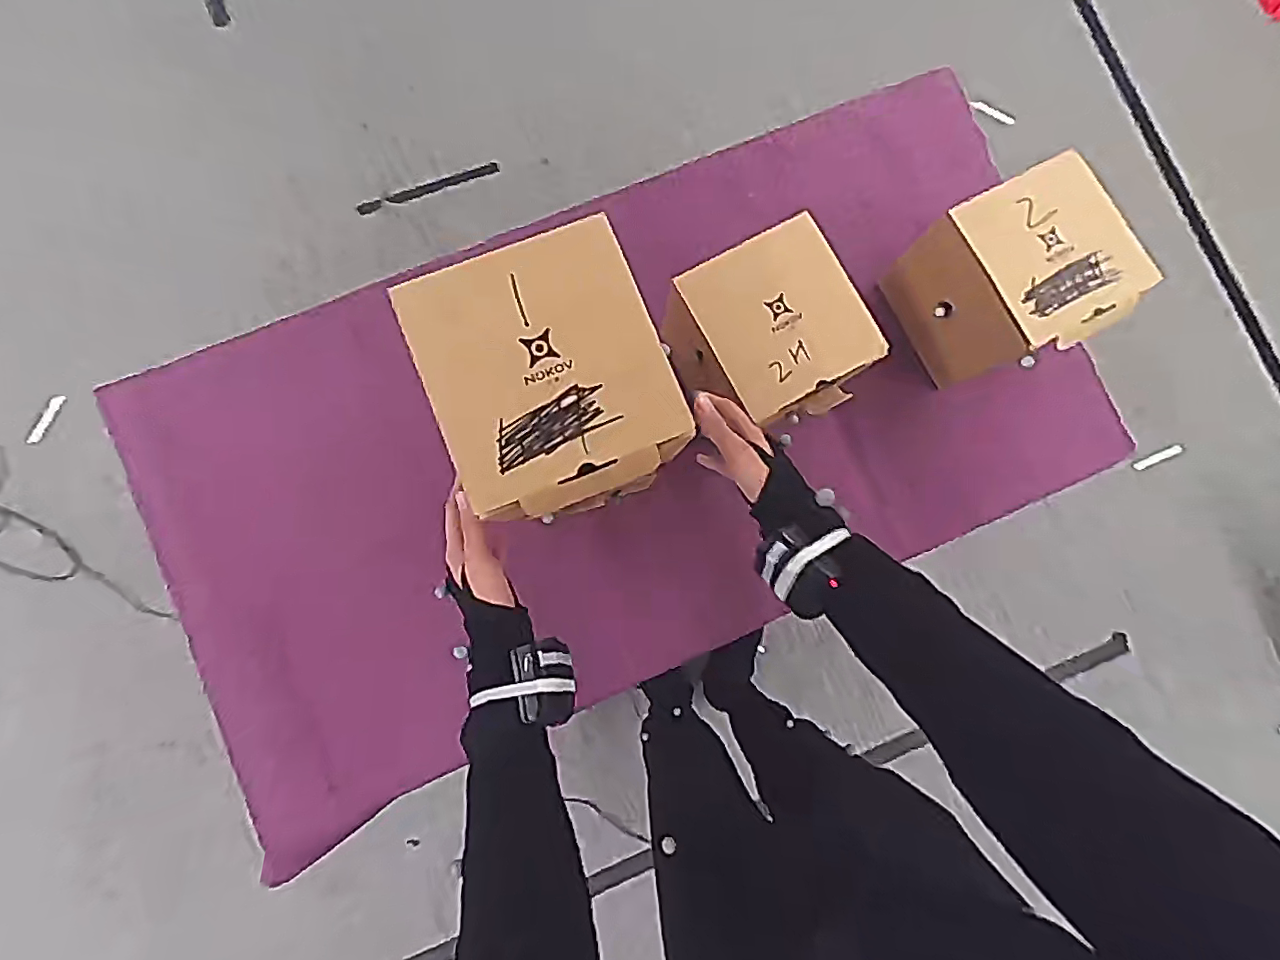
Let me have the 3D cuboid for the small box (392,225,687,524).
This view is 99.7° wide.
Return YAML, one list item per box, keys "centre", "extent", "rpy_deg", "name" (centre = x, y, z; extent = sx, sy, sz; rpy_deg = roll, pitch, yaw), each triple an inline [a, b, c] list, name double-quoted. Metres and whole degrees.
- centre: [-0.074, -0.072, 0.462]
  extent: [0.168, 0.176, 0.179]
  rpy_deg: [-22, 86, -5]
  name: "small box"

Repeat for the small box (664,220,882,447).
- centre: [0.139, -0.158, 0.642]
  extent: [0.168, 0.176, 0.179]
  rpy_deg: [-28, 87, -4]
  name: "small box"

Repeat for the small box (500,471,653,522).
- centre: [-0.086, -0.054, 0.624]
  extent: [0.168, 0.176, 0.179]
  rpy_deg: [-14, 85, -4]
  name: "small box"
